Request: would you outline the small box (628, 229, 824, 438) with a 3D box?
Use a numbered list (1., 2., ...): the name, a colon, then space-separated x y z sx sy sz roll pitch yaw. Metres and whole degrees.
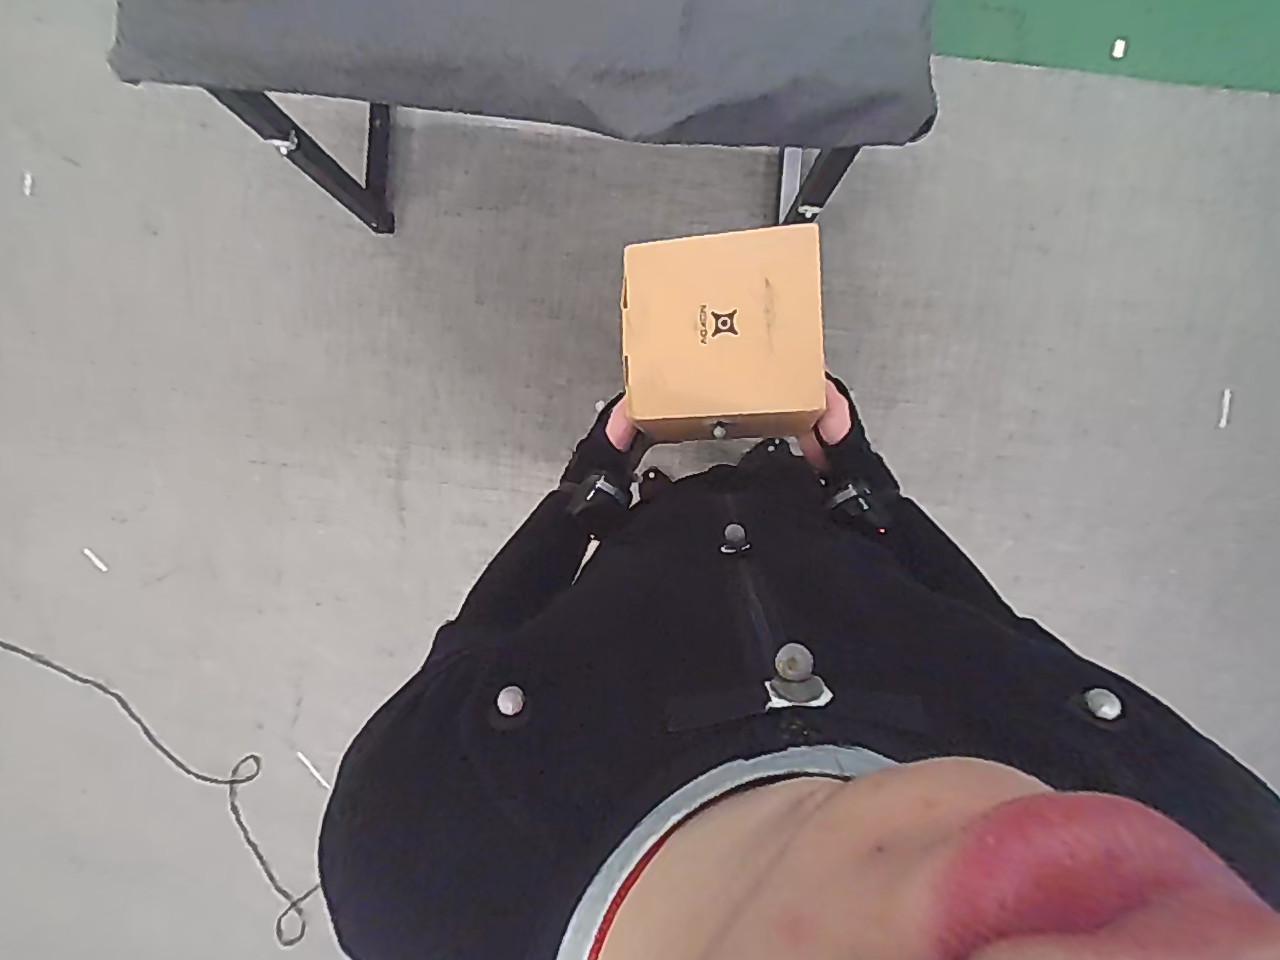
1. small box: 0.089 -0.137 0.572 0.179 0.176 0.168 -2 87 9
